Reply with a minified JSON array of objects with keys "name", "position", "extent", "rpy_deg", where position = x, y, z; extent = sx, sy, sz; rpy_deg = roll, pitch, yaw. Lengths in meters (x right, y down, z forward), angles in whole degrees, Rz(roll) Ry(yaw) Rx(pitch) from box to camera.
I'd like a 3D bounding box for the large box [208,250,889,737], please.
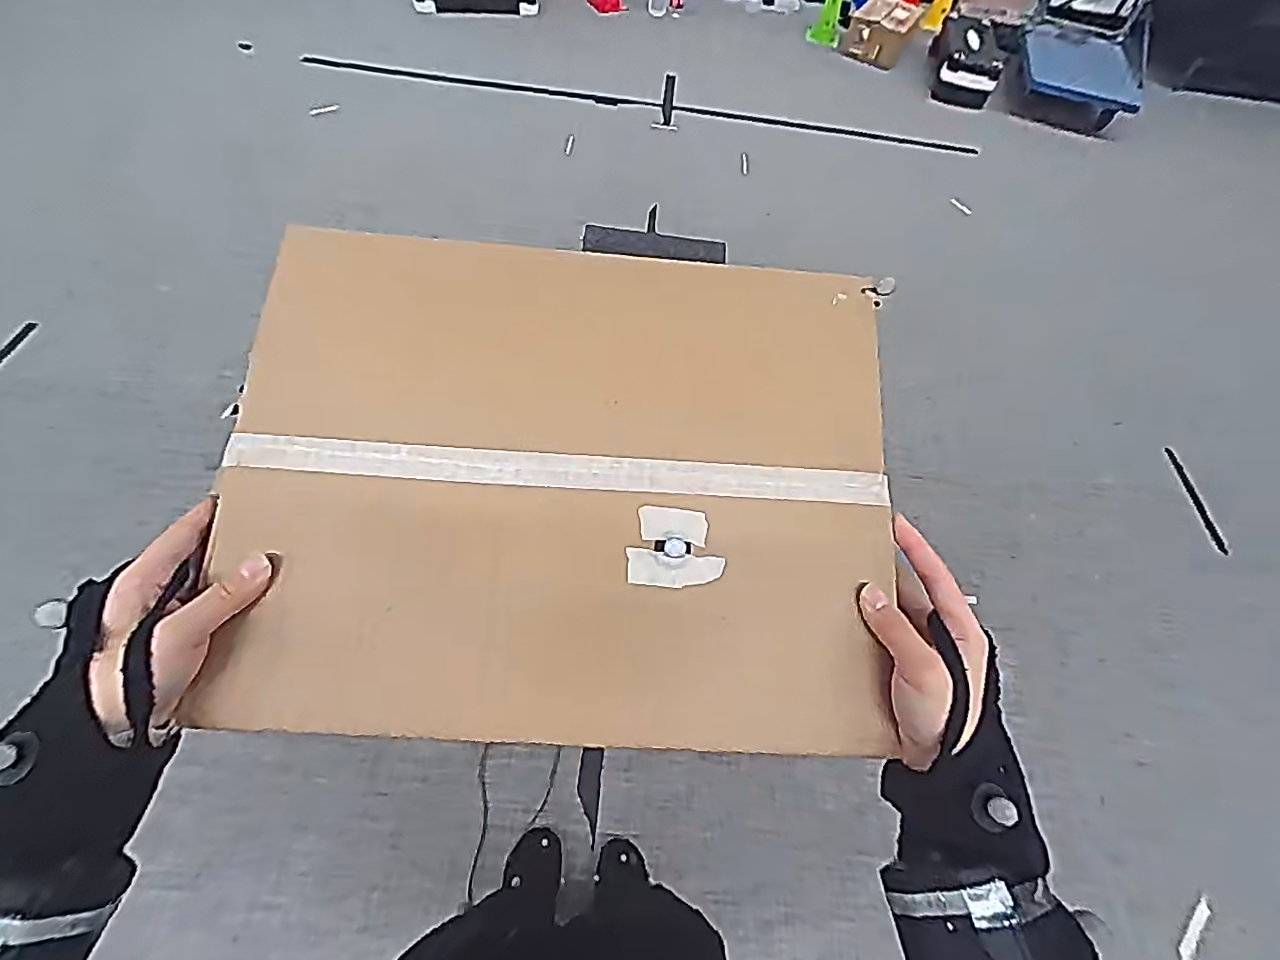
[{"name":"large box","position":[-0.052,0.033,0.494],"extent":[0.408,0.320,0.320],"rpy_deg":[4,76,-3]}]
